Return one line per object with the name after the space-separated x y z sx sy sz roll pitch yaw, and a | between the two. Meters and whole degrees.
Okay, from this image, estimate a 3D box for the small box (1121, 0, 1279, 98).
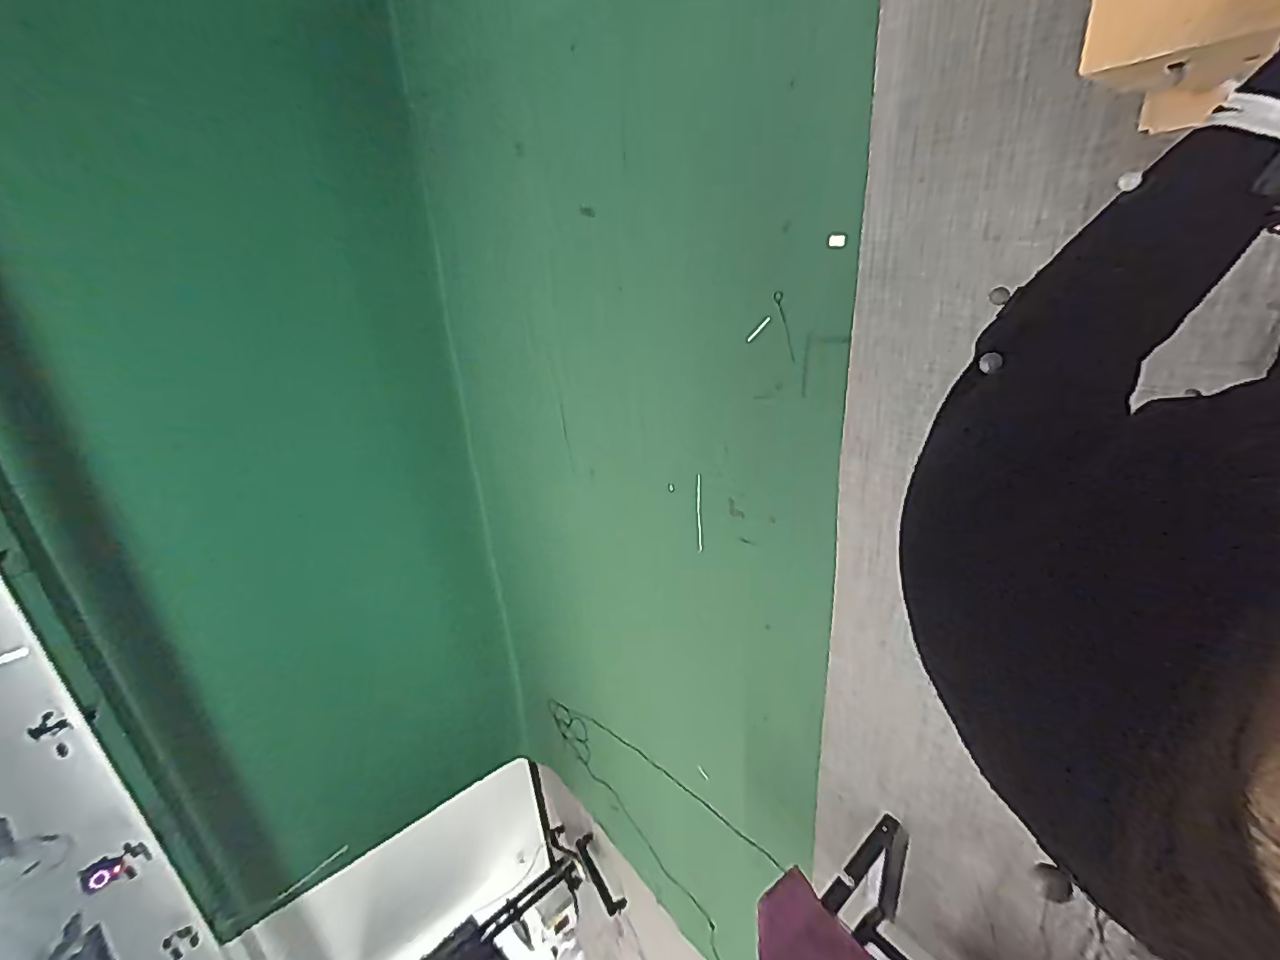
0.654 -0.532 0.572 0.168 0.176 0.179 21 125 45 | small box
